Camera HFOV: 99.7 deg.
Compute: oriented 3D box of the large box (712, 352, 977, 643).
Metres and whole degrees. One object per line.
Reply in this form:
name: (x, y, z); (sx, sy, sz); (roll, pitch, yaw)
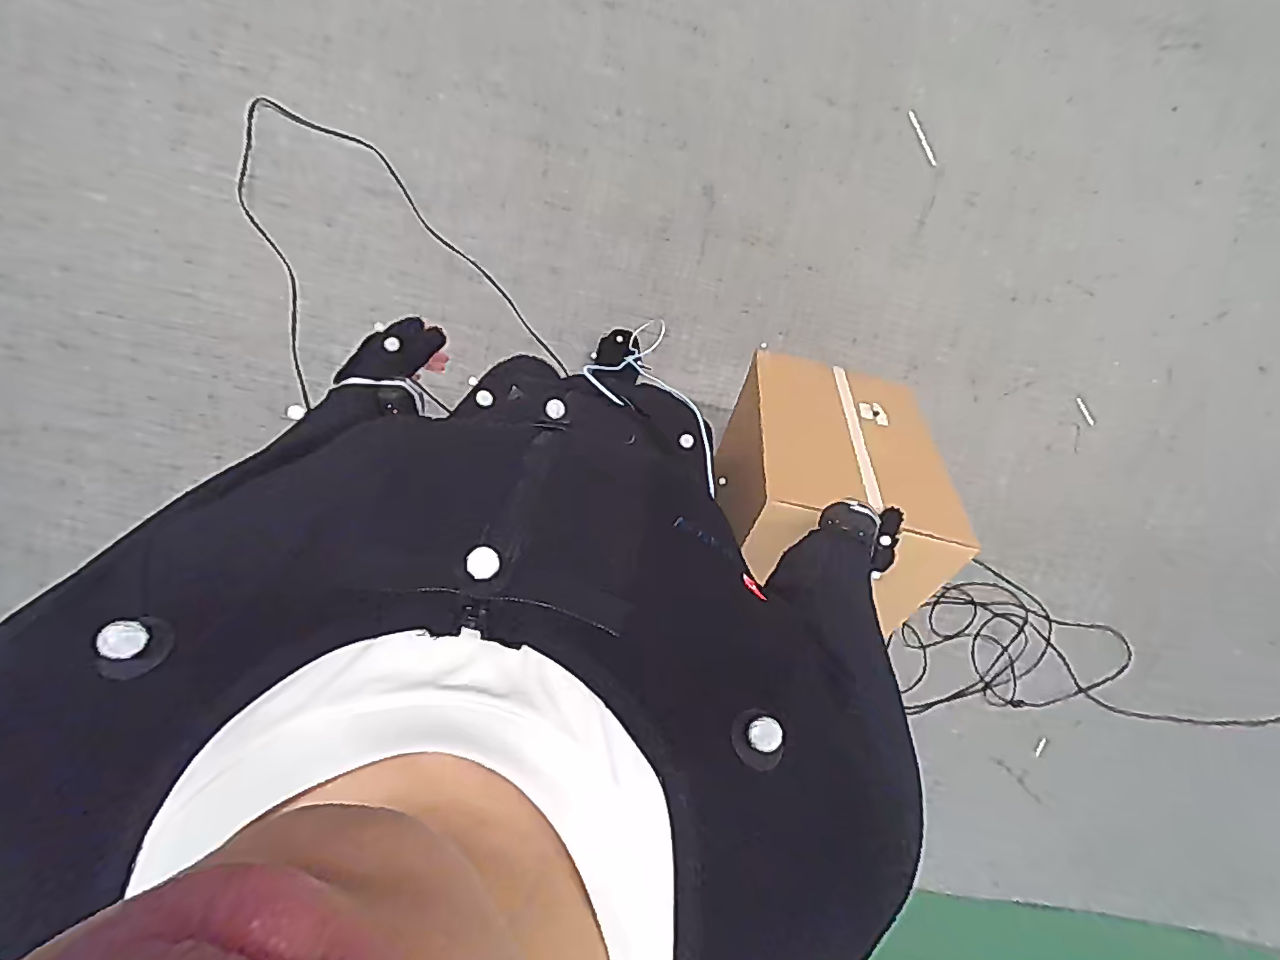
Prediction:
large box: (0.322, 0.028, 0.995); (0.320, 0.408, 0.320); (14, 134, -4)
